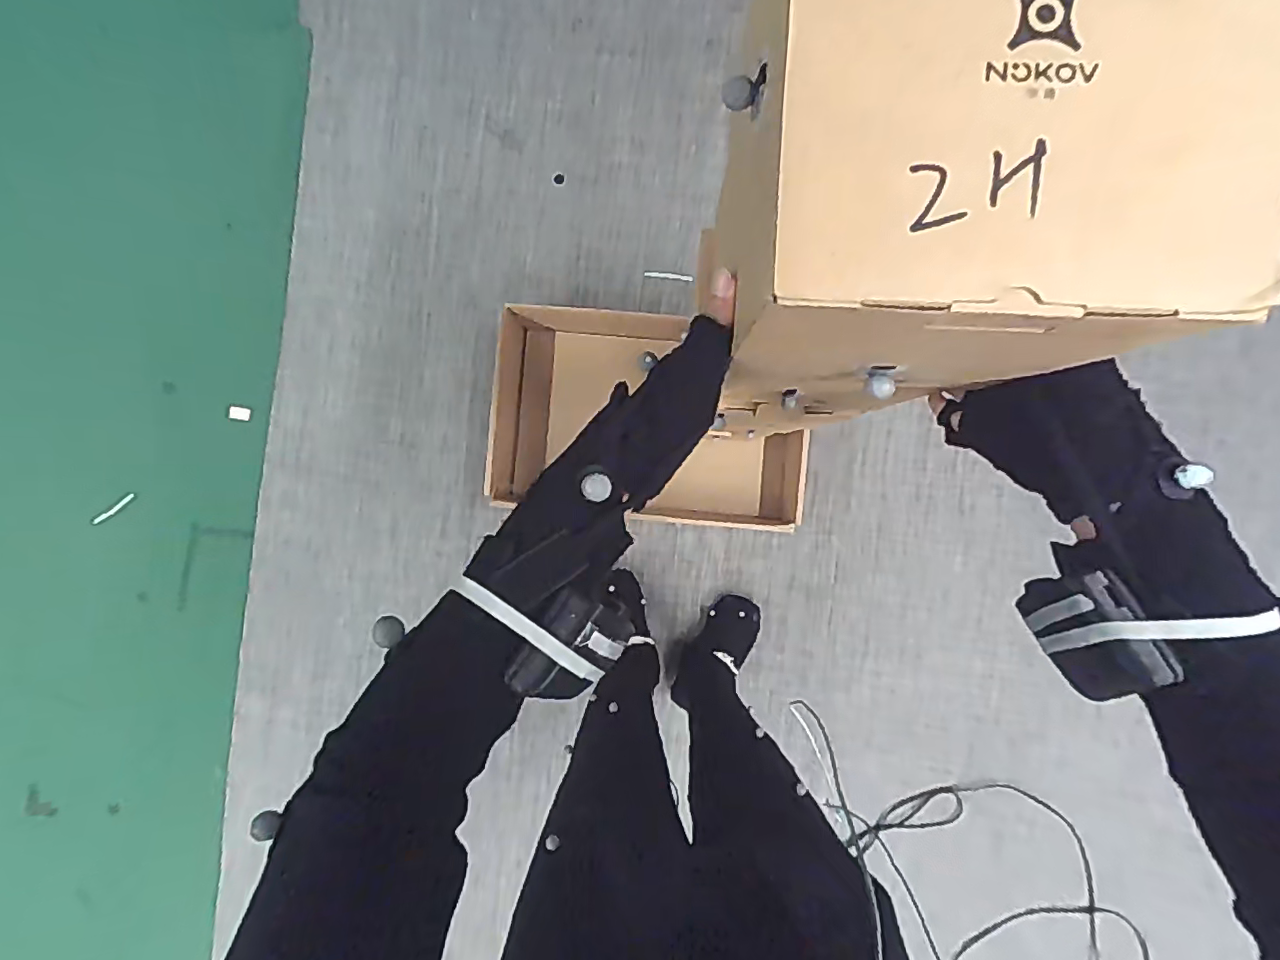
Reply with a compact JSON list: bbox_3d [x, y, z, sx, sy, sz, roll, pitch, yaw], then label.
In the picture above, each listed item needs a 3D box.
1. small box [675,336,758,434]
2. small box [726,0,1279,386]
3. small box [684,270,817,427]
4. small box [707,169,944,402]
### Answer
[{"bbox_3d":[0.156,-0.184,1.087,0.168,0.176,0.179,1,90,4],"label":"small box"},{"bbox_3d":[0.135,-0.146,0.255,0.168,0.176,0.179,3,93,2],"label":"small box"},{"bbox_3d":[0.152,-0.172,0.758,0.168,0.176,0.179,6,91,2],"label":"small box"},{"bbox_3d":[0.146,-0.161,0.419,0.168,0.176,0.179,4,93,1],"label":"small box"}]
